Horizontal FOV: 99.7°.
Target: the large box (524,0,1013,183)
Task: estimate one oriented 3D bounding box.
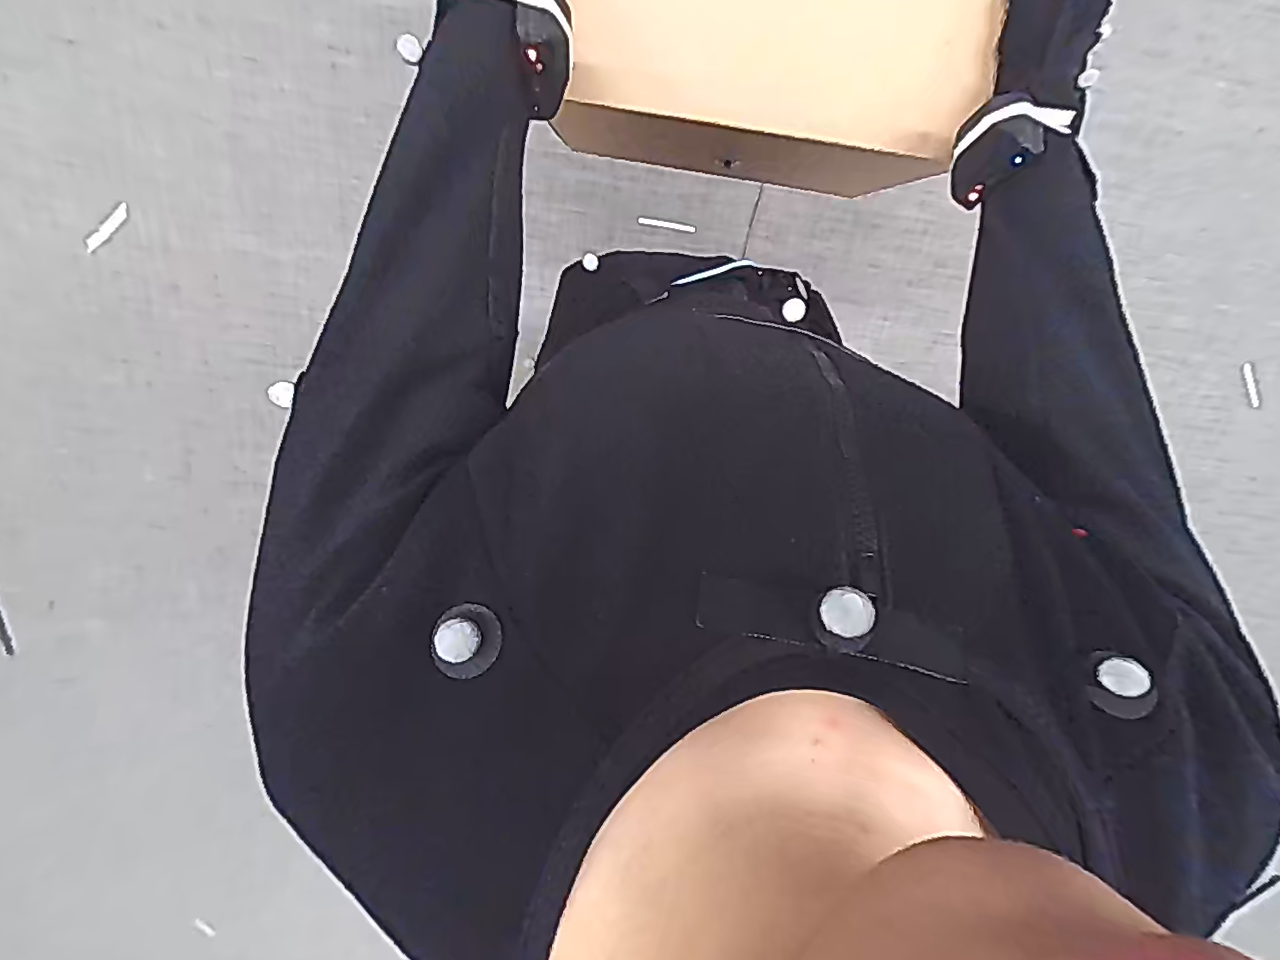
[{"bbox_3d":[0.120,-0.516,0.555,0.408,0.320,0.320,9,112,-2],"label":"large box"}]
